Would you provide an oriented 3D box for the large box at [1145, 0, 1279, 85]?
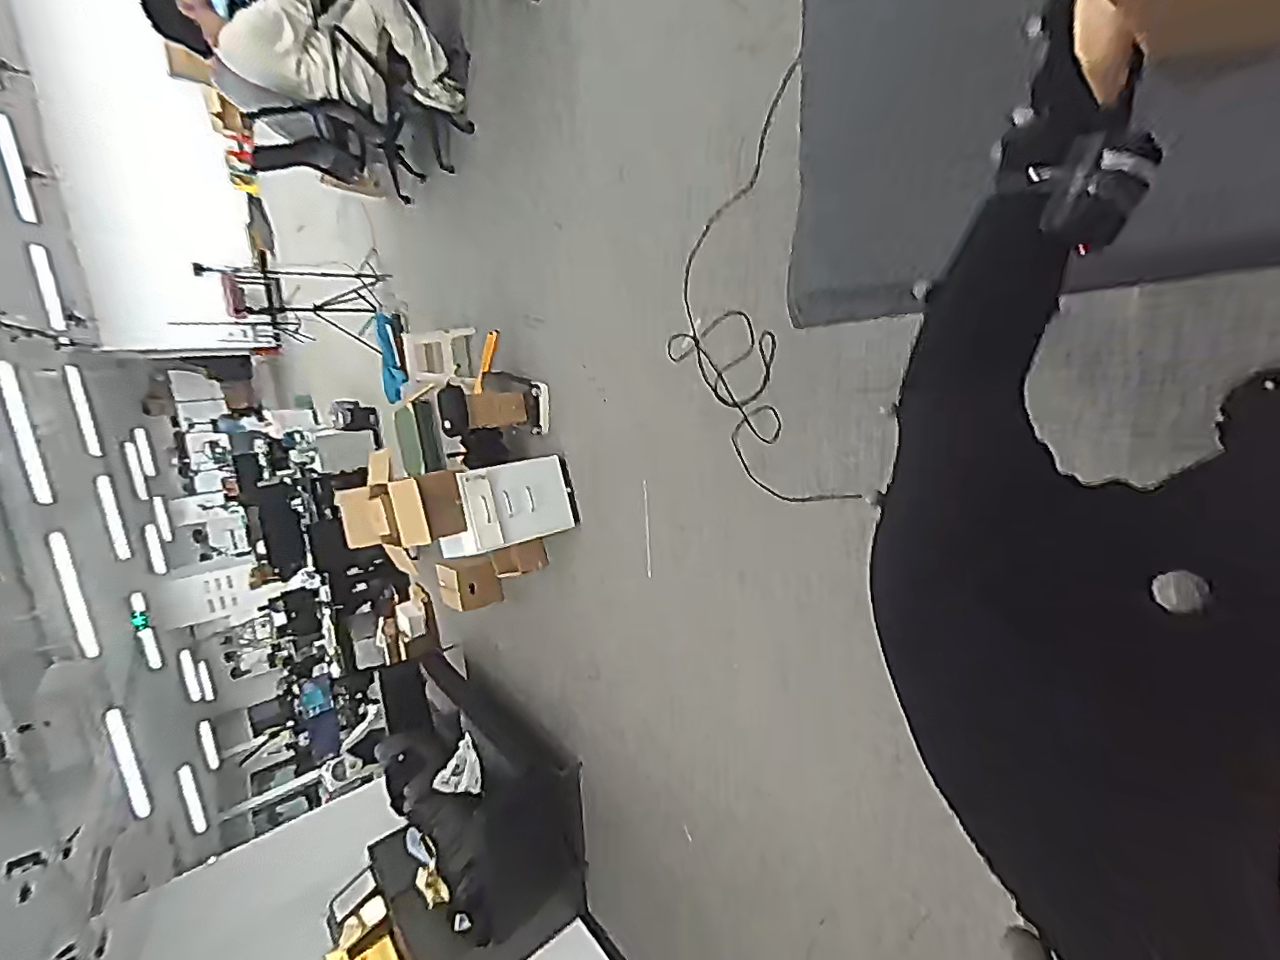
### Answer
[{"bbox_3d":[0.431,-0.390,0.149,0.408,0.320,0.320,10,114,47],"label":"large box"}]
